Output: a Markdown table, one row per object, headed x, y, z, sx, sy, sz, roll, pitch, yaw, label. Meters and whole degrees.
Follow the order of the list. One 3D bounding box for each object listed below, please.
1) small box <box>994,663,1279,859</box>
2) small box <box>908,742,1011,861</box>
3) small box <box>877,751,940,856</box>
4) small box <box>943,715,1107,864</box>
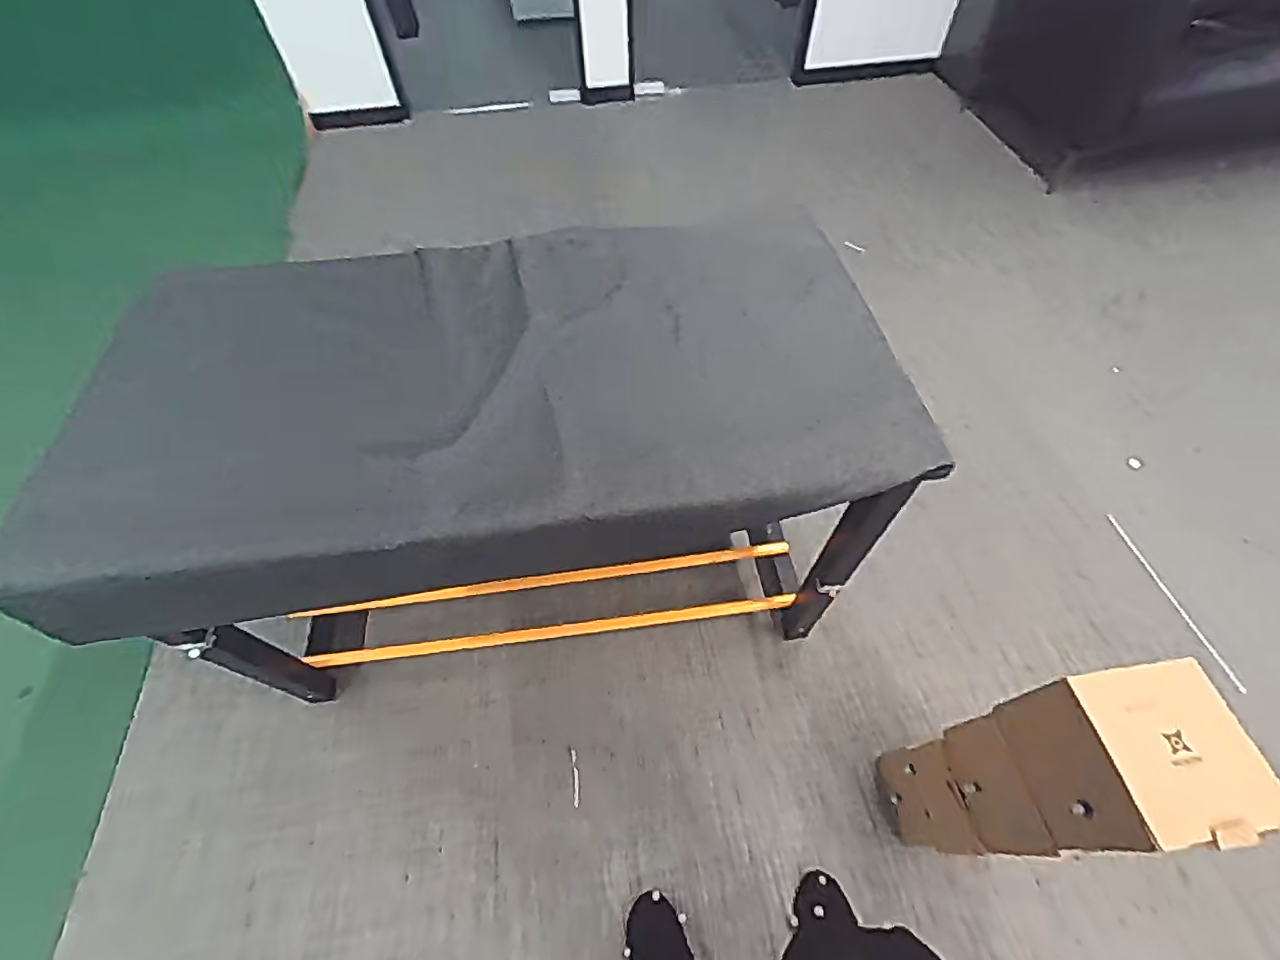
| x | y | z | sx | sy | sz | roll | pitch | yaw | label |
| --- | --- | --- | --- | --- | --- | --- | --- | --- | --- |
| 0.587 | 0.343 | 0.659 | 0.168 | 0.176 | 0.179 | -7 | 55 | -5 | small box |
| 0.587 | 0.538 | 0.921 | 0.179 | 0.176 | 0.168 | -8 | 56 | -5 | small box |
| 0.601 | 0.627 | 1.059 | 0.179 | 0.176 | 0.168 | -6 | 55 | -4 | small box |
| 0.588 | 0.440 | 0.790 | 0.168 | 0.176 | 0.179 | -6 | 57 | -5 | small box |
